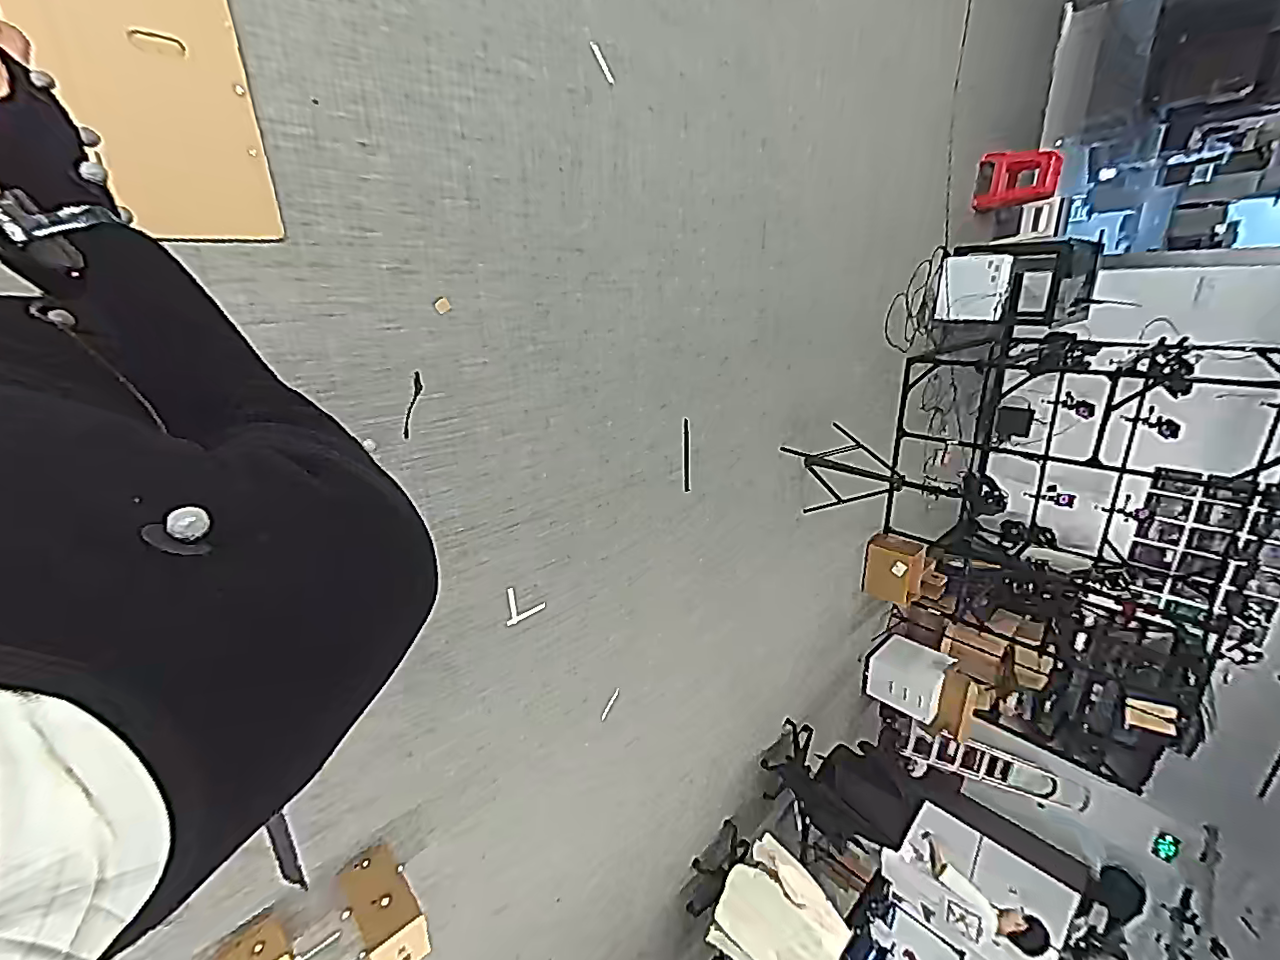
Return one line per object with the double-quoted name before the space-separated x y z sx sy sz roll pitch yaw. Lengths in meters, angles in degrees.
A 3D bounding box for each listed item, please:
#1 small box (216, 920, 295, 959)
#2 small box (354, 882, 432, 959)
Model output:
"small box" -1.139 1.481 1.617 0.168 0.176 0.179 -22 118 -38
"small box" -0.784 1.440 1.715 0.168 0.176 0.179 -17 114 -41
